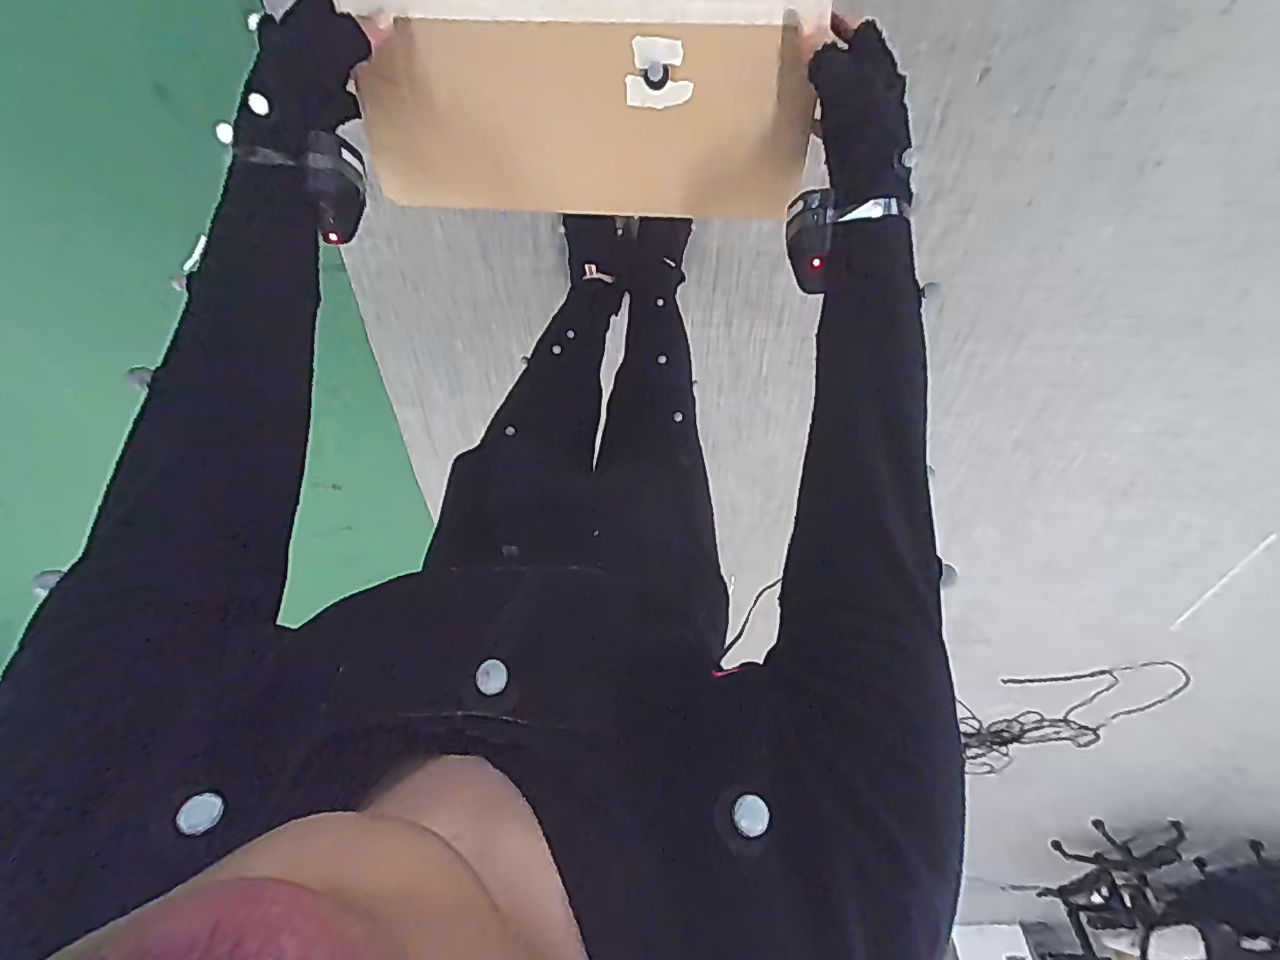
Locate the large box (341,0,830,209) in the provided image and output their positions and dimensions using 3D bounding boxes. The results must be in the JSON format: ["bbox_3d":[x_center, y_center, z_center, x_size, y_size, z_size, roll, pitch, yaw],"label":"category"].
[{"bbox_3d":[-0.041,-0.478,0.553,0.408,0.320,0.320,3,127,1],"label":"large box"}]
